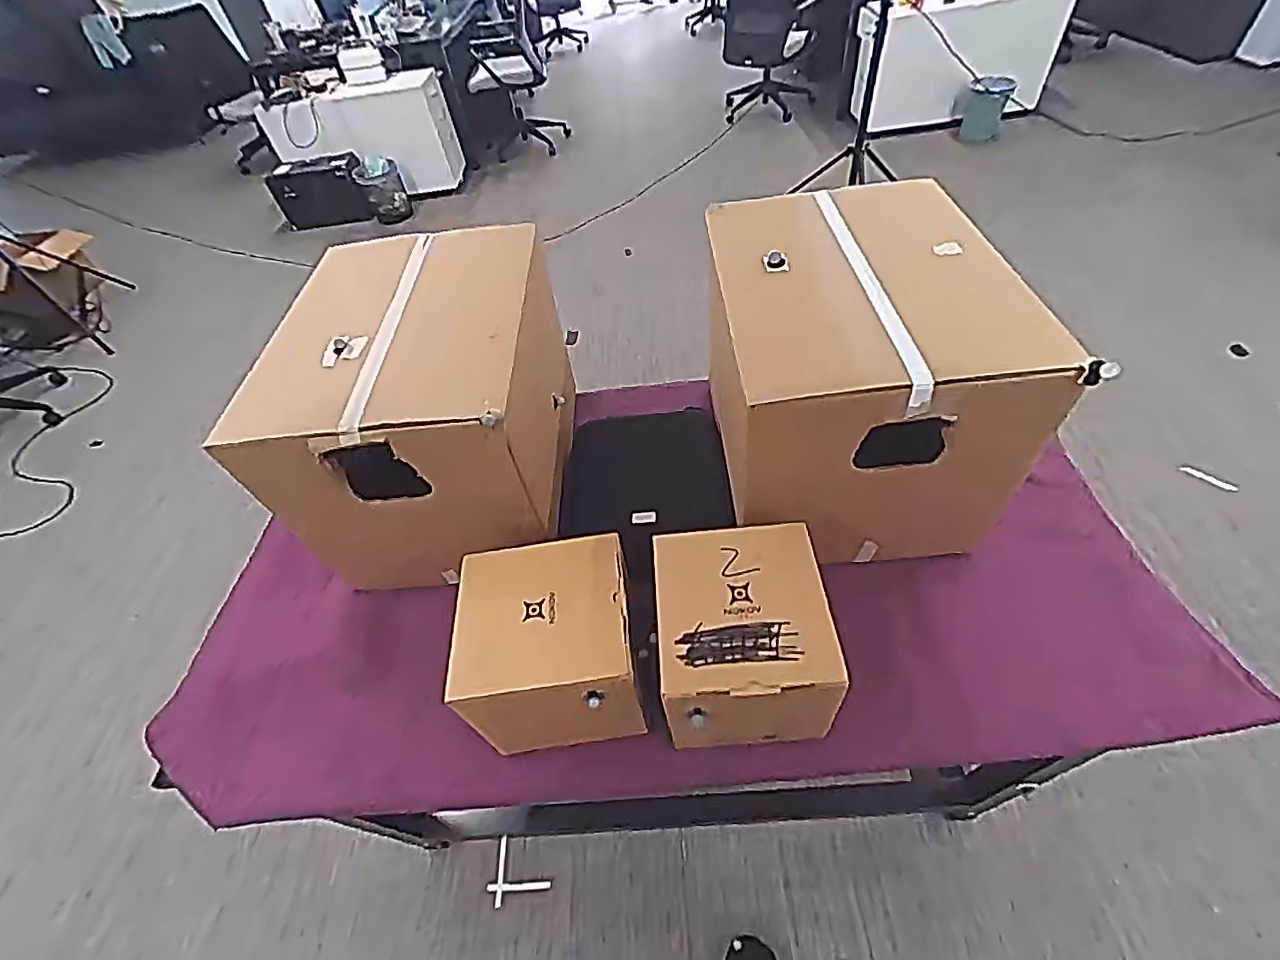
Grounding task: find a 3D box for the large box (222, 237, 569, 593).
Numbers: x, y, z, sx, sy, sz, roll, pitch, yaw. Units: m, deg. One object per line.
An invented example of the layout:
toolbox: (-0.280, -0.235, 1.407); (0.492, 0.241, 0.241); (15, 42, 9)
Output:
large box: (-0.283, -0.093, 0.789); (0.320, 0.320, 0.408); (-7, 52, 3)
